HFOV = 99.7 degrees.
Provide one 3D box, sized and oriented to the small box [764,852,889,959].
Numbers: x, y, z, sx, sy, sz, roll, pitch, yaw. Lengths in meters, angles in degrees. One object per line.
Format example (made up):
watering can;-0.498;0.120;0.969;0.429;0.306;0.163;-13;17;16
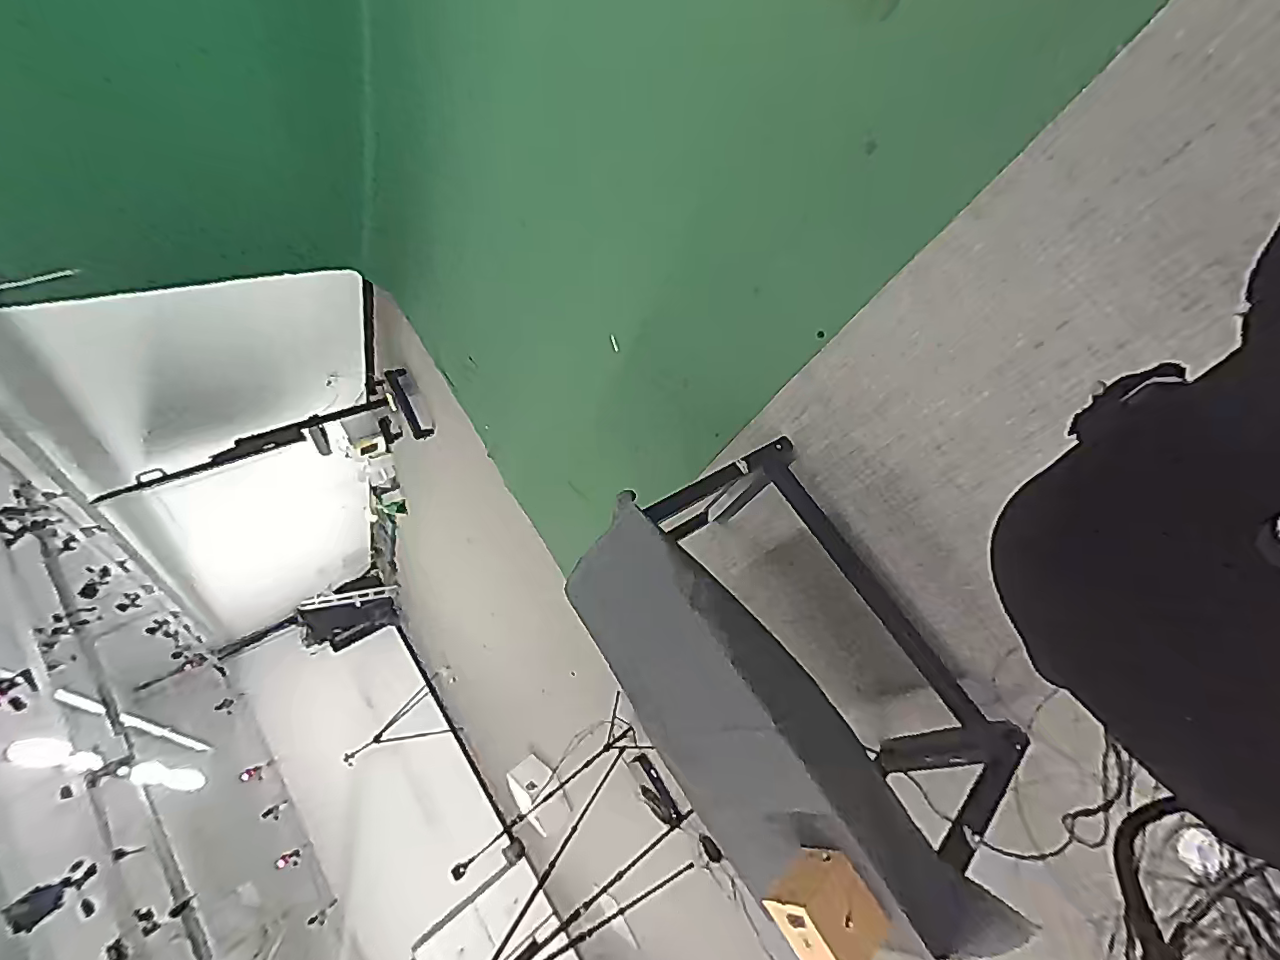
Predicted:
small box;0.432;1.004;1.254;0.179;0.176;0.168;55;144;13
